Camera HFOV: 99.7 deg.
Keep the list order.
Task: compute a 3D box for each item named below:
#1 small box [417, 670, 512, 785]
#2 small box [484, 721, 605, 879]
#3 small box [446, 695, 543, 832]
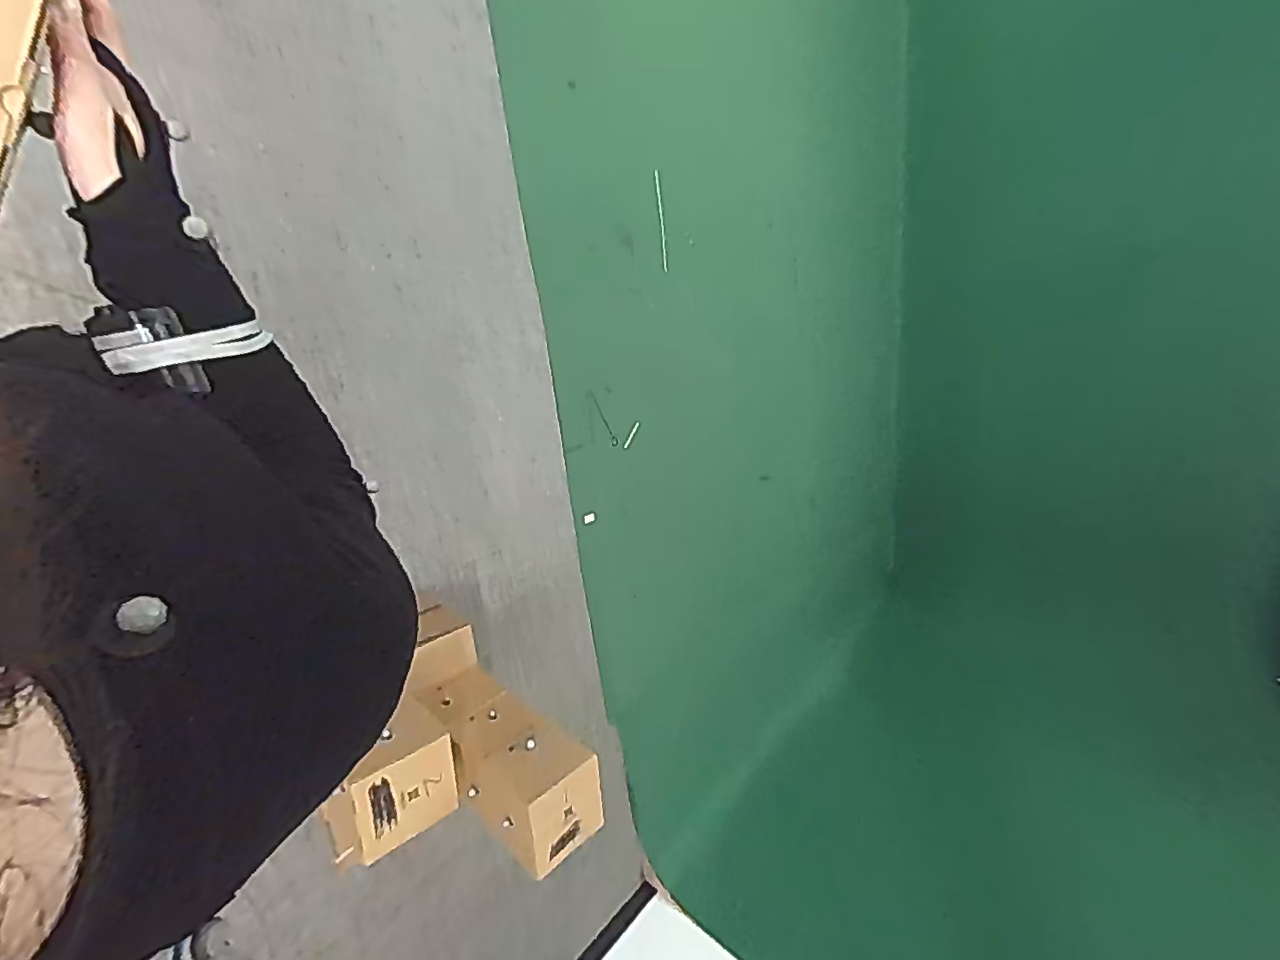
[{"bbox_3d":[-0.419,0.587,1.310,0.168,0.176,0.179,-18,112,-43],"label":"small box"},{"bbox_3d":[-0.190,0.624,1.080,0.168,0.176,0.179,-18,110,-43],"label":"small box"},{"bbox_3d":[-0.306,0.614,1.196,0.168,0.176,0.179,-18,109,-43],"label":"small box"}]
